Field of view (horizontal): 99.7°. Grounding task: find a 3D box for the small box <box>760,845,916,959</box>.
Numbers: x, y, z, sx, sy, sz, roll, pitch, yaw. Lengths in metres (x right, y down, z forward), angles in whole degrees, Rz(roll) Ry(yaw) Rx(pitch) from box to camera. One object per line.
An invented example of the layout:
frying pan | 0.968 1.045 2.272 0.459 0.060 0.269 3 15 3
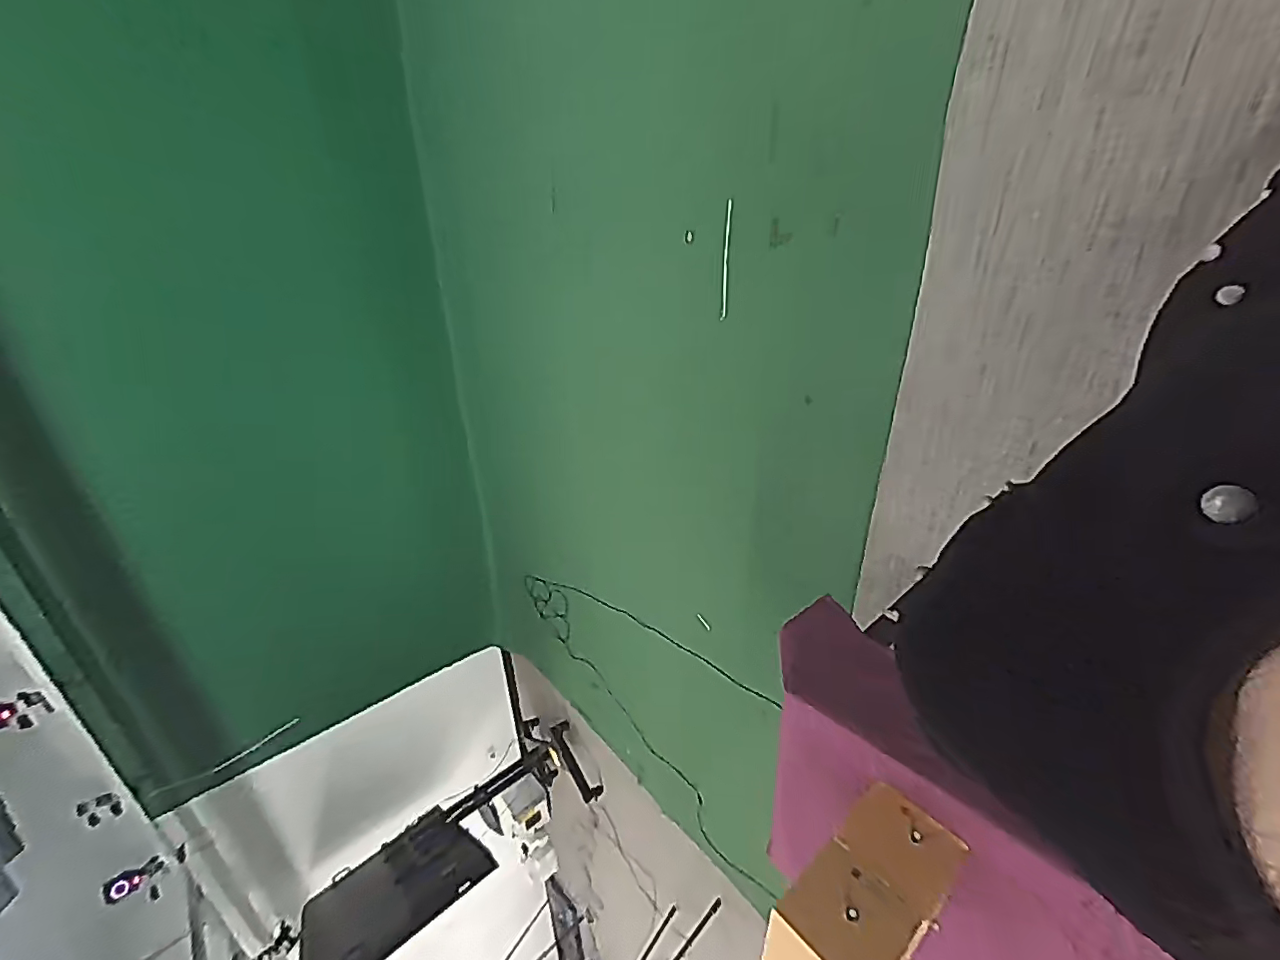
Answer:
small box | 0.319 0.749 0.874 0.168 0.176 0.179 28 128 43

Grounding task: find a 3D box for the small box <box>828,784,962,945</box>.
small box | 0.444 0.702 0.970 0.168 0.176 0.179 29 128 42
